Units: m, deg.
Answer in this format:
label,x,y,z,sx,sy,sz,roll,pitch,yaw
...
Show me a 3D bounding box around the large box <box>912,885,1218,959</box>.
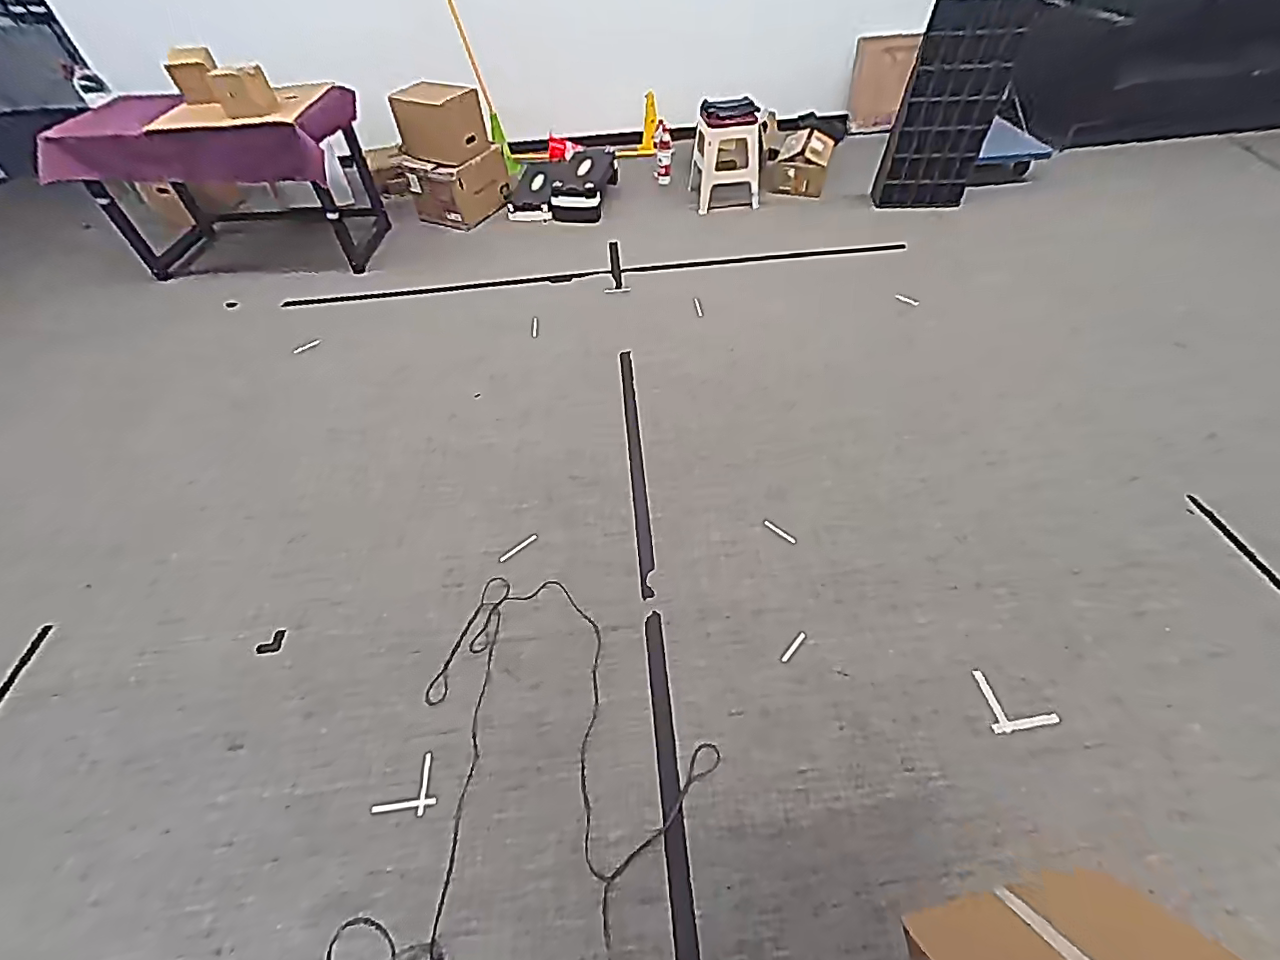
label,x,y,z,sx,sy,sz,roll,pitch,yaw
large box,0.575,0.742,0.580,0.320,0.408,0.320,-12,81,-3
